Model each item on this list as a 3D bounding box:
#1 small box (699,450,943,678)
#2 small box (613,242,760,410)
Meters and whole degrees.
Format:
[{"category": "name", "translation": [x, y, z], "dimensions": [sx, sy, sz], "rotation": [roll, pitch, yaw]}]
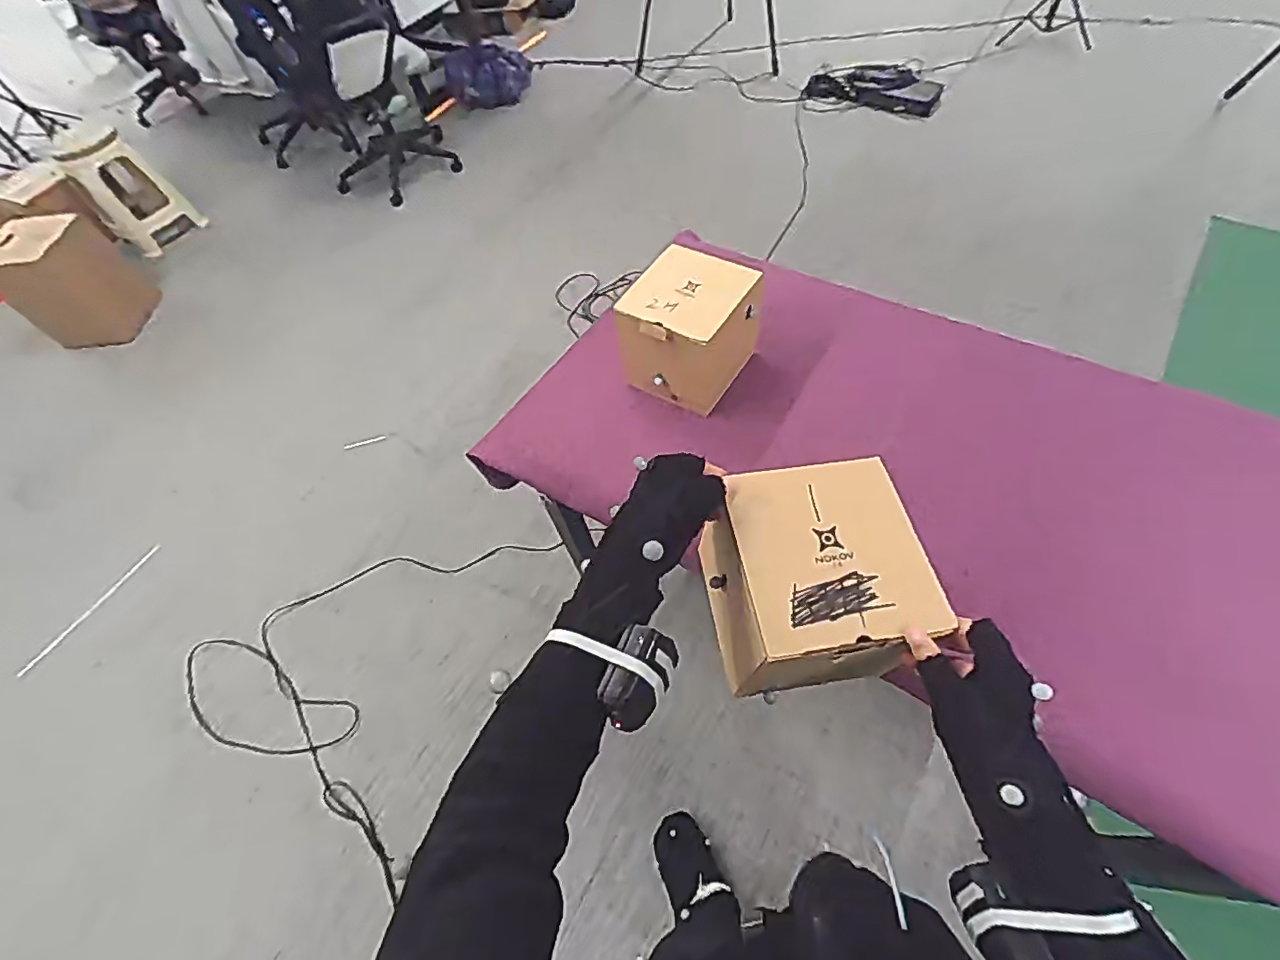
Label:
[{"category": "small box", "translation": [0.161, 0.094, 0.553], "dimensions": [0.168, 0.176, 0.179], "rotation": [-7, 58, -5]}, {"category": "small box", "translation": [0.078, -0.249, 0.886], "dimensions": [0.168, 0.176, 0.179], "rotation": [27, 66, 22]}]
